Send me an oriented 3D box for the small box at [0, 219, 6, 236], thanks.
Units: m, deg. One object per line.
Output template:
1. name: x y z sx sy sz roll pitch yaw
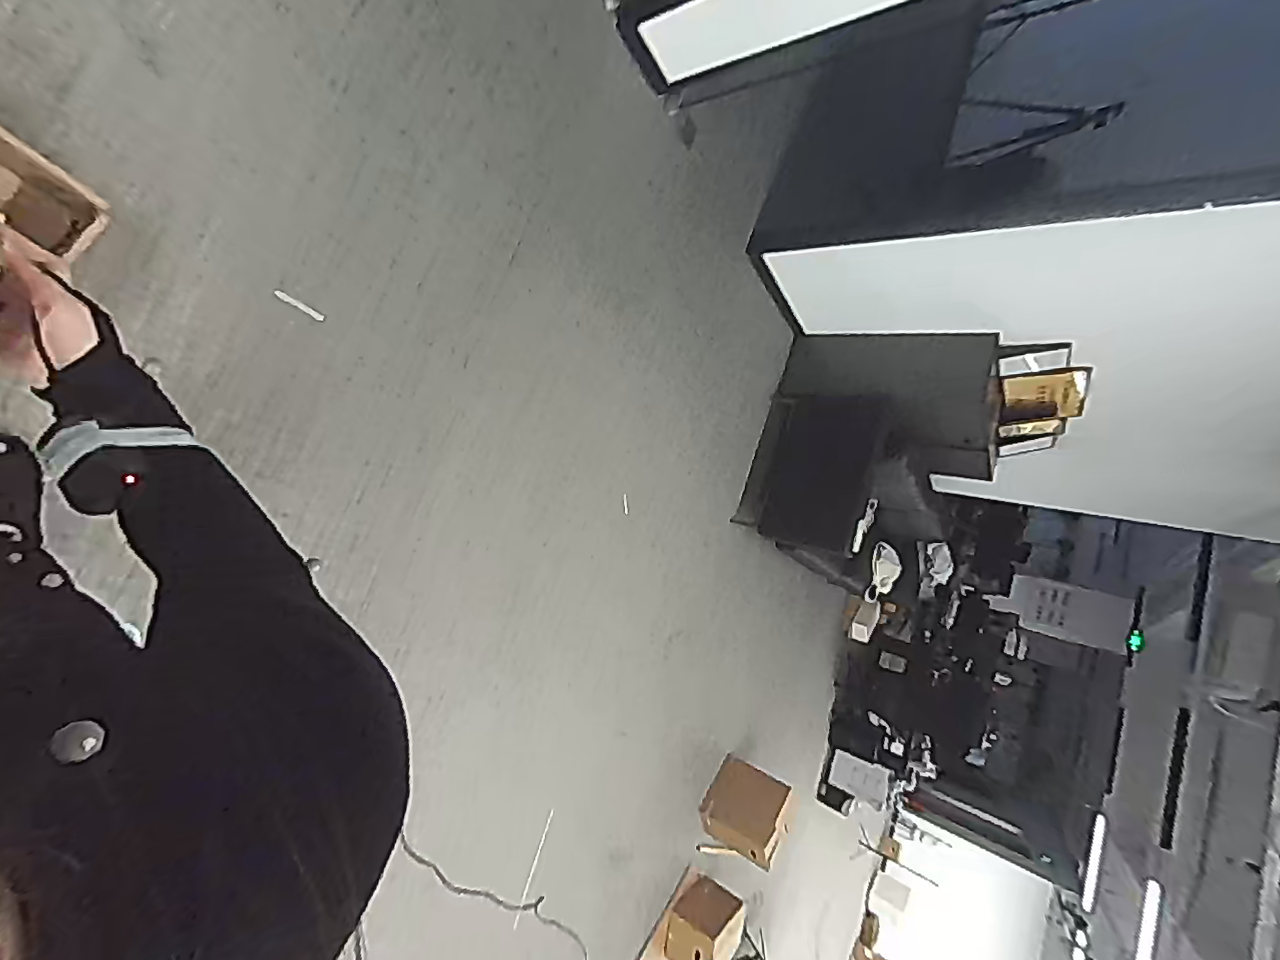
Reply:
1. small box: -0.927 -0.293 0.645 0.168 0.176 0.179 41 66 -49
